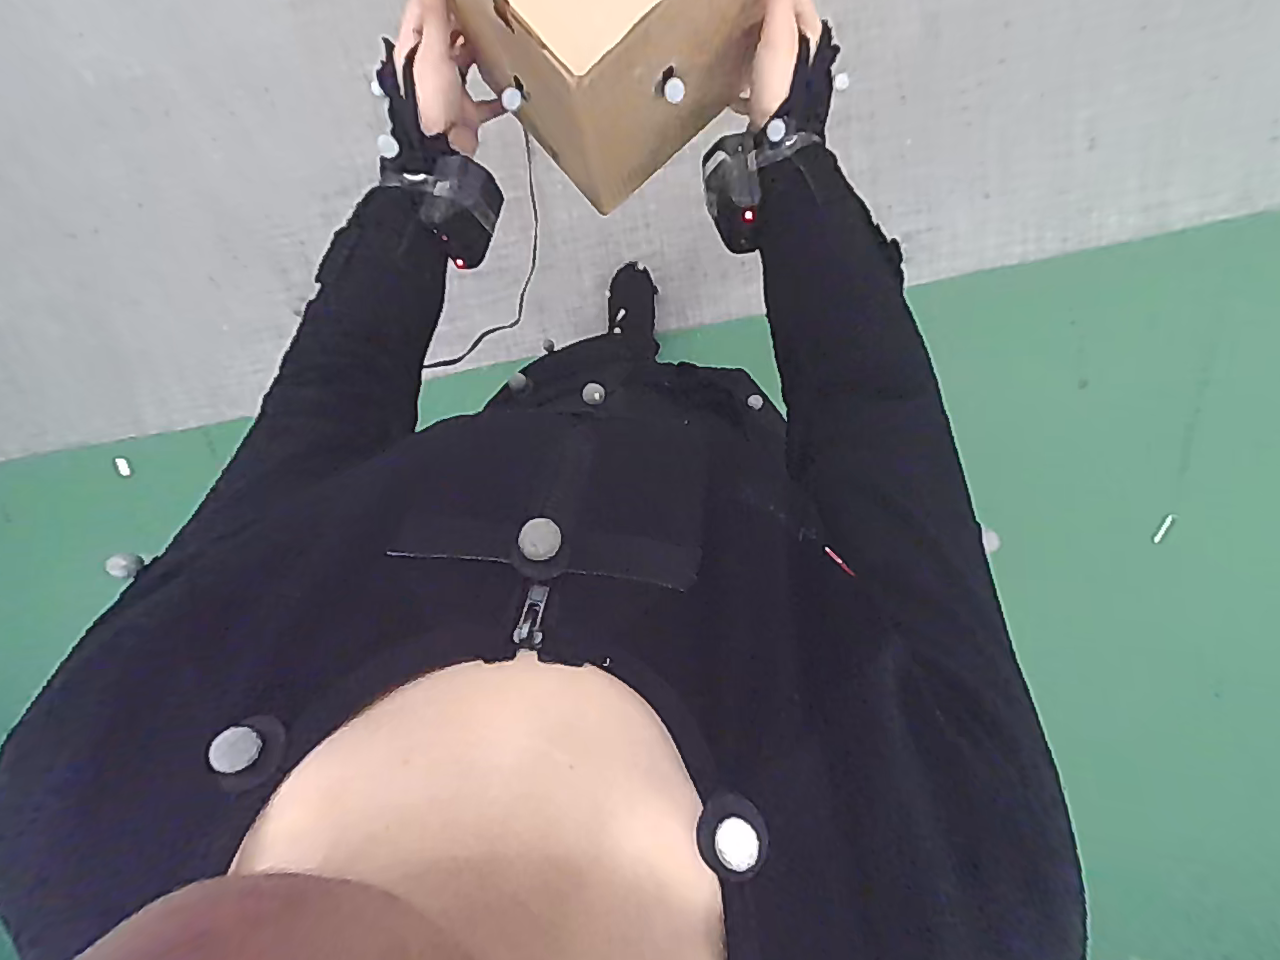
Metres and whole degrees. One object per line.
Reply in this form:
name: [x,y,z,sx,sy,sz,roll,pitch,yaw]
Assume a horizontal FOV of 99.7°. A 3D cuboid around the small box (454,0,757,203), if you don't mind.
small box: [-0.024,-0.350,0.396,0.179,0.176,0.168,-42,90,3]
